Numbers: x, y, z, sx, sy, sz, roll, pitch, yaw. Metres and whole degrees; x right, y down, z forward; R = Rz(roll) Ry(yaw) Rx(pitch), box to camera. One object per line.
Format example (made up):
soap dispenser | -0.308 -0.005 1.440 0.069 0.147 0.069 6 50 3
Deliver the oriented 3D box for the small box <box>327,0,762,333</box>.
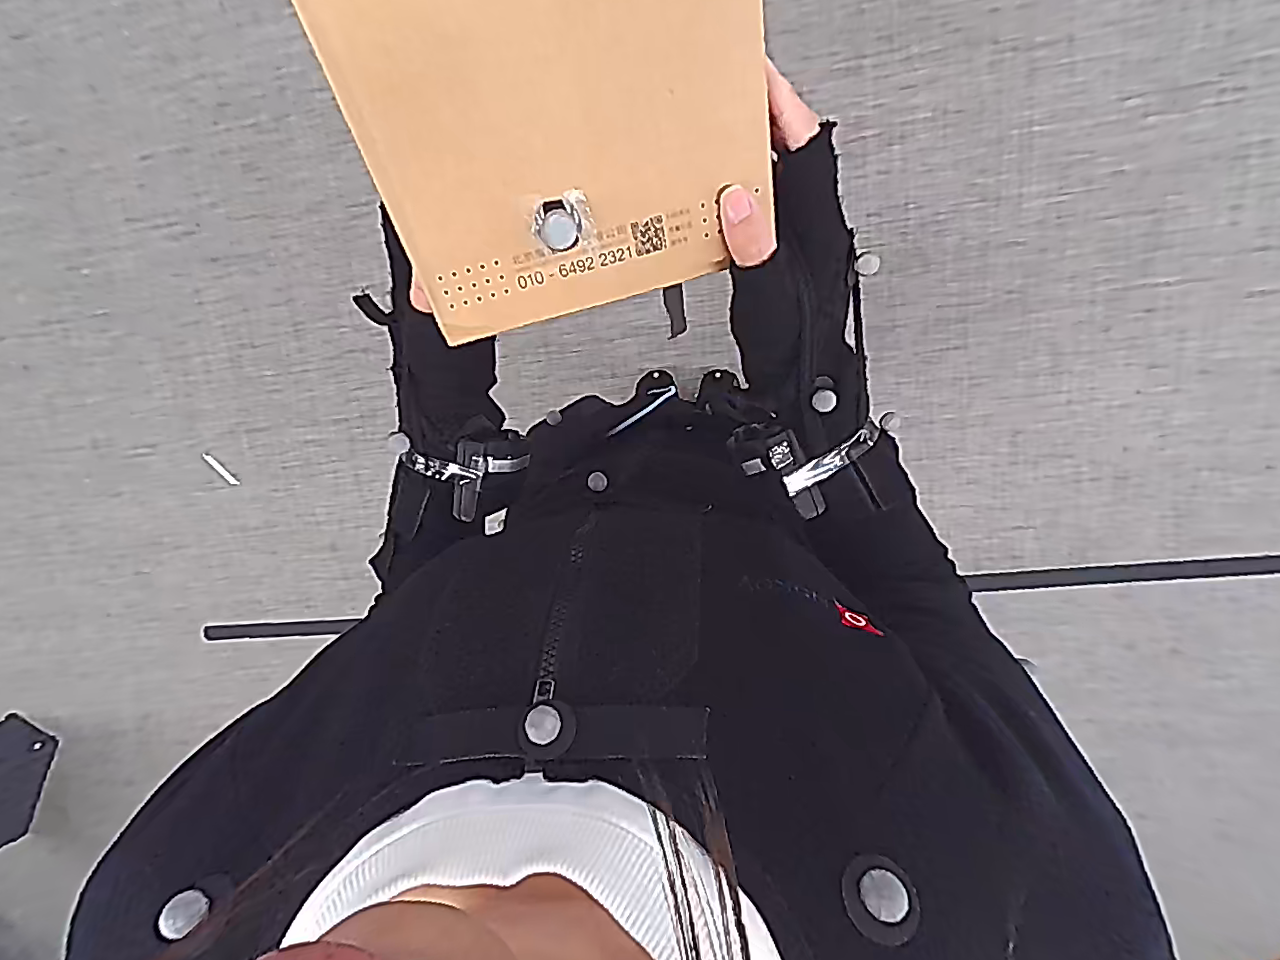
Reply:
small box | -0.044 -0.201 0.294 0.168 0.179 0.176 -17 127 -2
